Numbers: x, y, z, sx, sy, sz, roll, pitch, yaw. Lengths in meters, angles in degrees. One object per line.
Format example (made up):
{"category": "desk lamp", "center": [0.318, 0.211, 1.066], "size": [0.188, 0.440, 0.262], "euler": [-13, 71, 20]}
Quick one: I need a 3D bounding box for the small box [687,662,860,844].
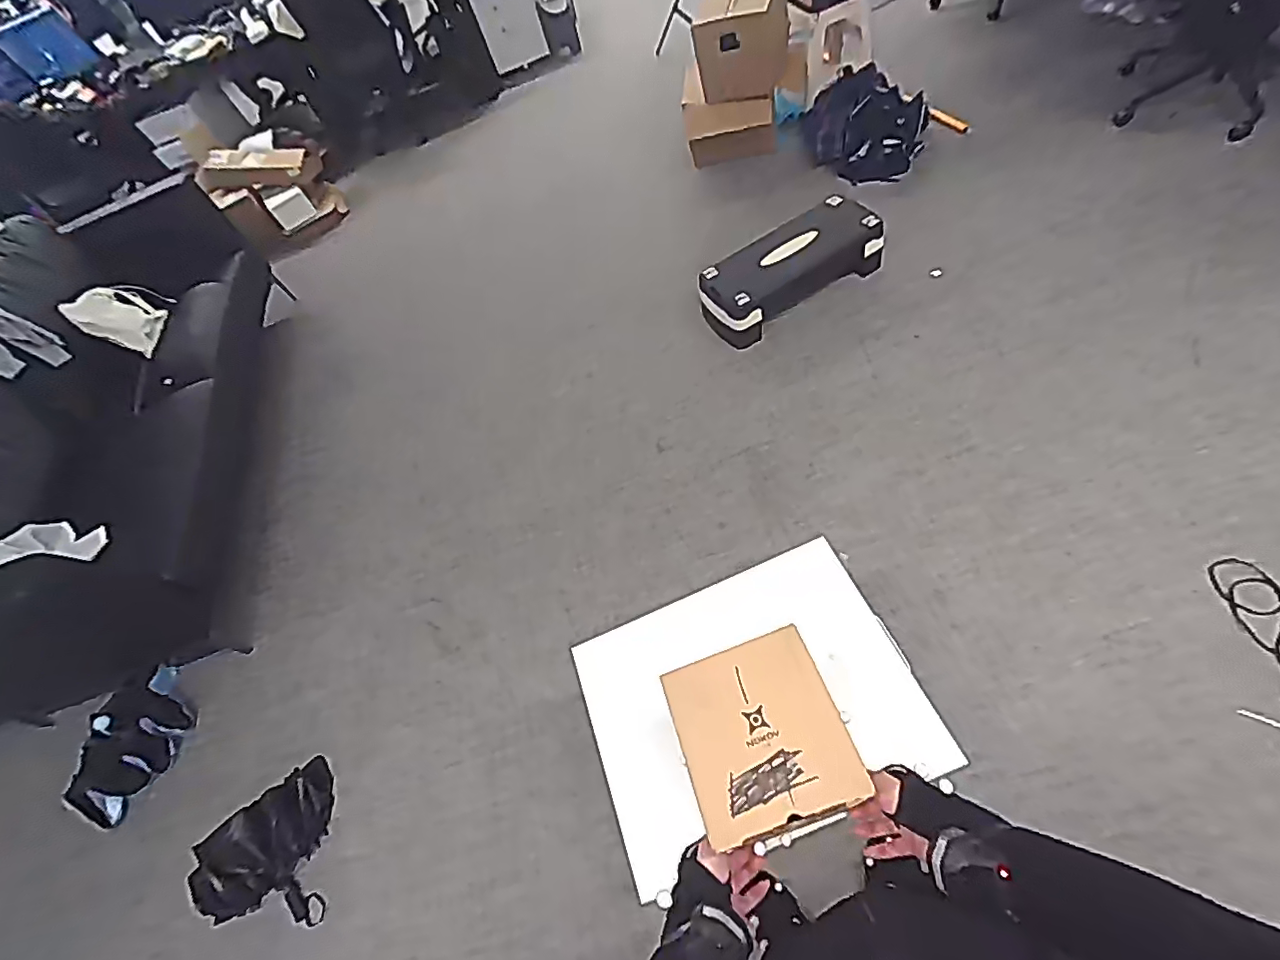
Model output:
{"category": "small box", "center": [0.181, 0.384, 0.755], "size": [0.168, 0.176, 0.179], "euler": [-23, 55, 3]}
